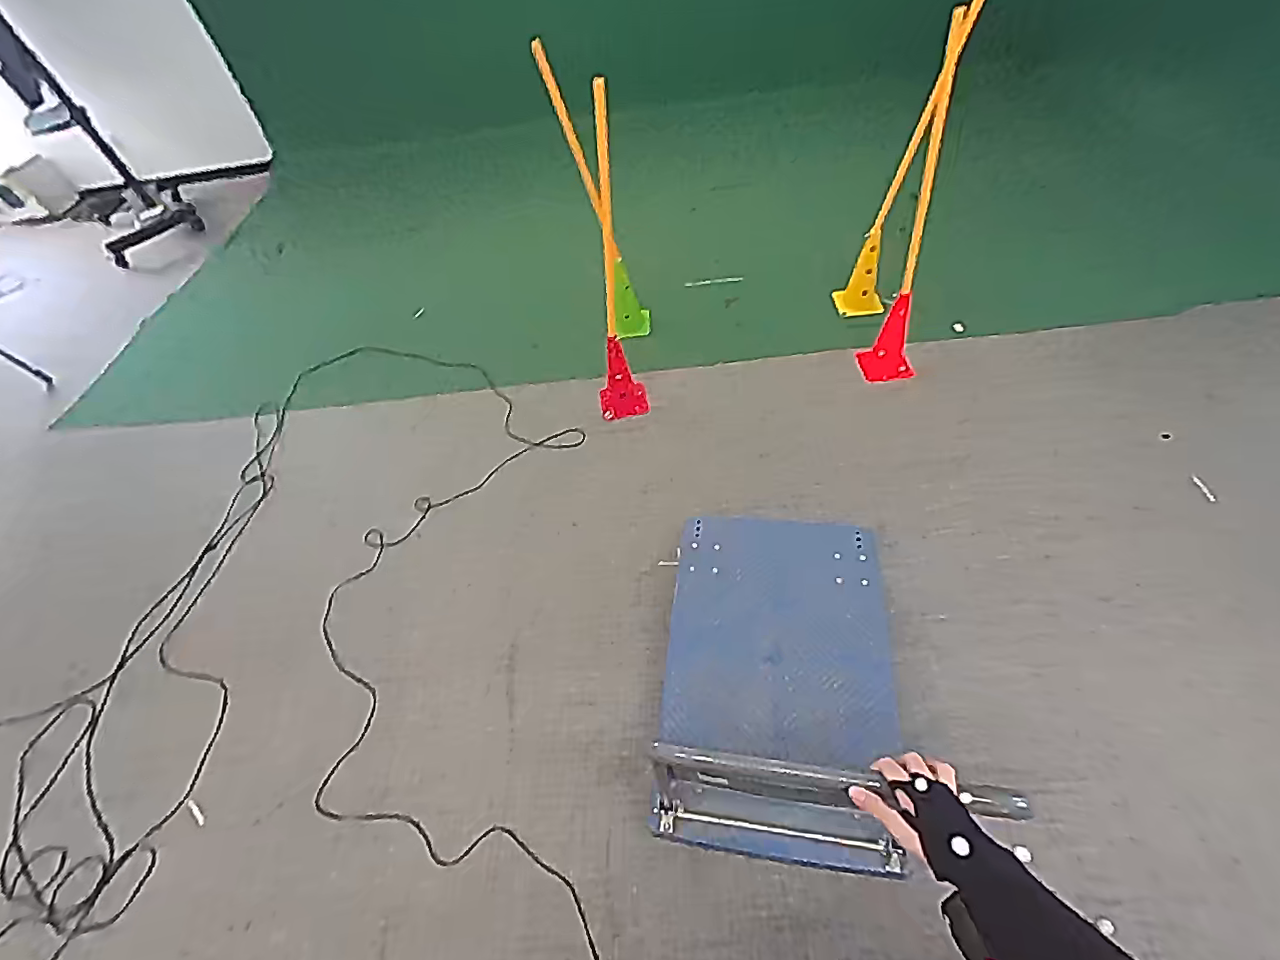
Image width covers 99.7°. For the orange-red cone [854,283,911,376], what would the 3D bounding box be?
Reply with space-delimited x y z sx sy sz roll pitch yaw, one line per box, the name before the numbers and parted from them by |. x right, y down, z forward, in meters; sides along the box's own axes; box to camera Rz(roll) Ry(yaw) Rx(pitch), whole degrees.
orange-red cone | 1.007 -0.619 2.158 0.198 0.360 0.199 -5 50 4

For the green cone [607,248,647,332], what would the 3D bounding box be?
green cone | -0.085 -0.904 2.535 0.200 0.368 0.202 -6 51 5
